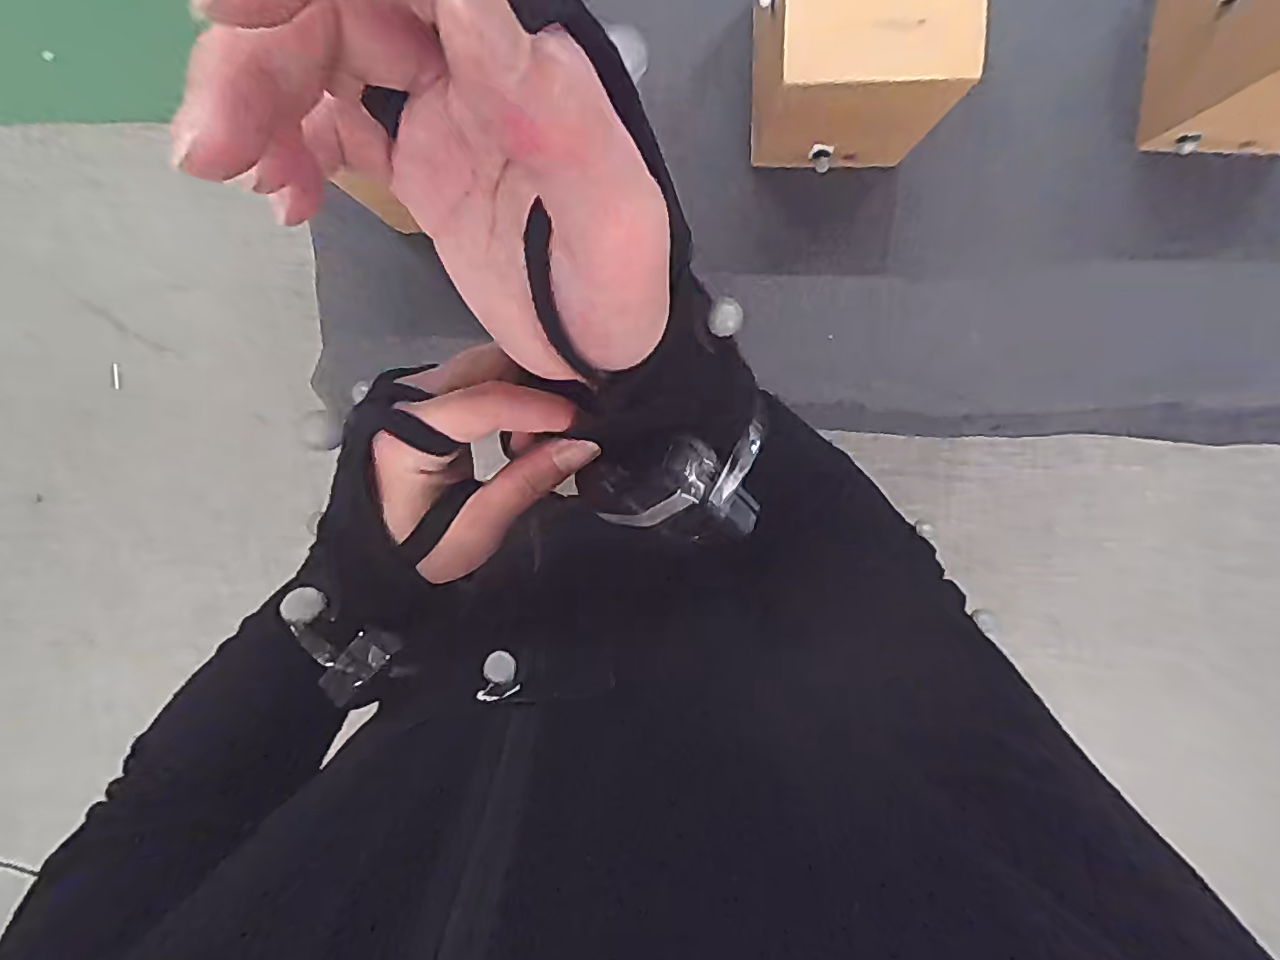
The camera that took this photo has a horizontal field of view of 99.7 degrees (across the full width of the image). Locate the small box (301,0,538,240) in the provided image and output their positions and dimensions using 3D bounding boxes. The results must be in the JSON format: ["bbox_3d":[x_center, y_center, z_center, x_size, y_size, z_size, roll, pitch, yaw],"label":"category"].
[{"bbox_3d":[-0.200,-0.356,0.534,0.168,0.176,0.179,0,96,1],"label":"small box"}]

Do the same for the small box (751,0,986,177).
[{"bbox_3d":[0.203,-0.421,0.521,0.168,0.176,0.179,-1,98,2],"label":"small box"}]
